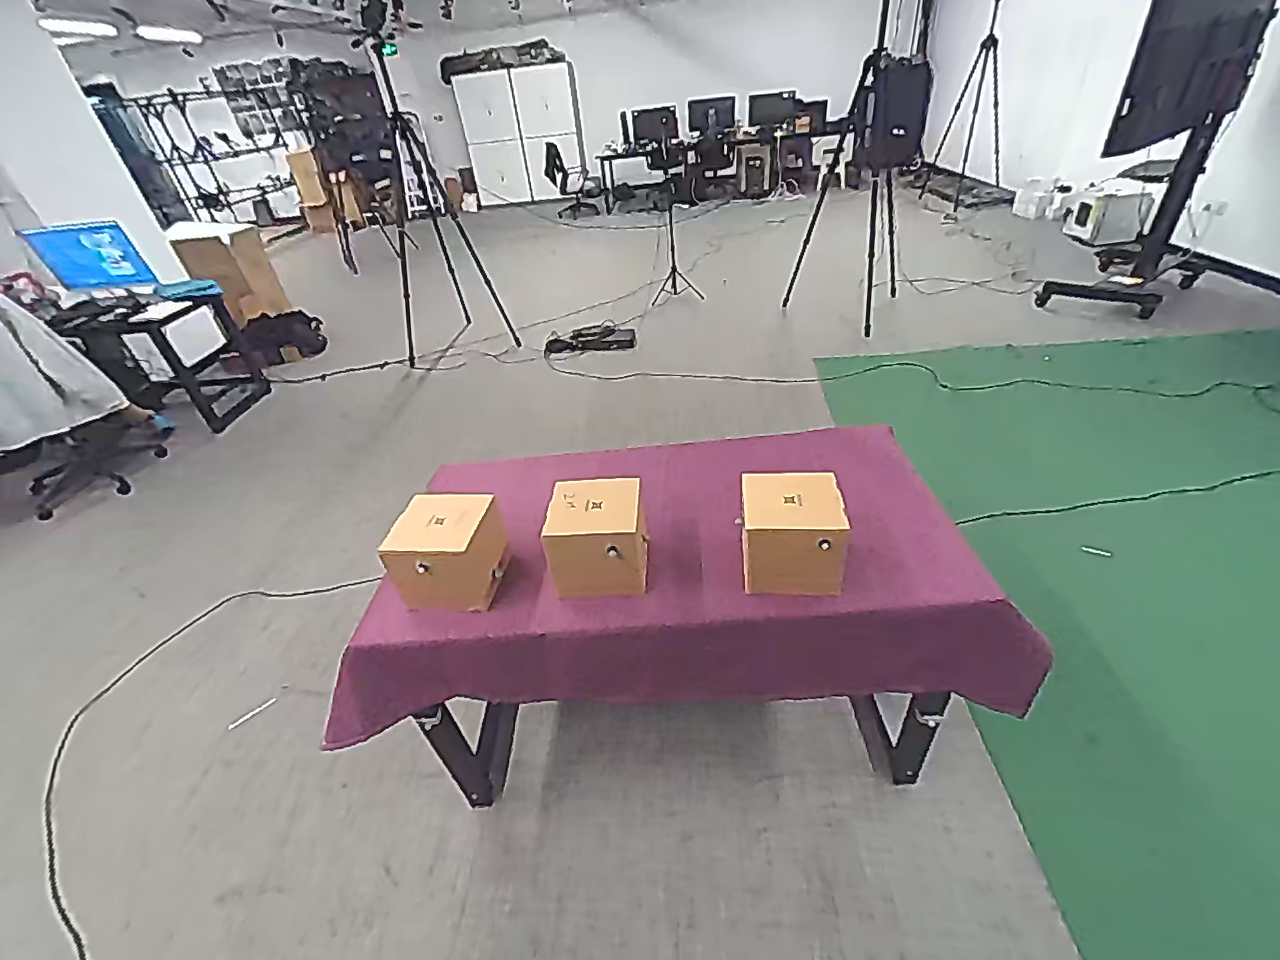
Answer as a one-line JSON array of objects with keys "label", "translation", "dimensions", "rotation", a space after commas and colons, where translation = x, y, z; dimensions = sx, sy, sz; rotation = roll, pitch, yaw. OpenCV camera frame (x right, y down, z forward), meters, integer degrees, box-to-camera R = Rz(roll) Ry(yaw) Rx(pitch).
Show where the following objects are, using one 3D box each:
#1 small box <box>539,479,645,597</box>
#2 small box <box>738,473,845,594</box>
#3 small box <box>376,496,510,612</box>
[{"label": "small box", "translation": [-0.084, 0.116, 1.070], "dimensions": [0.179, 0.176, 0.168], "rotation": [-3, 36, 6]}, {"label": "small box", "translation": [0.279, 0.102, 1.029], "dimensions": [0.179, 0.176, 0.168], "rotation": [-1, 37, 9]}, {"label": "small box", "translation": [-0.382, 0.147, 1.083], "dimensions": [0.179, 0.176, 0.168], "rotation": [0, 37, 9]}]
